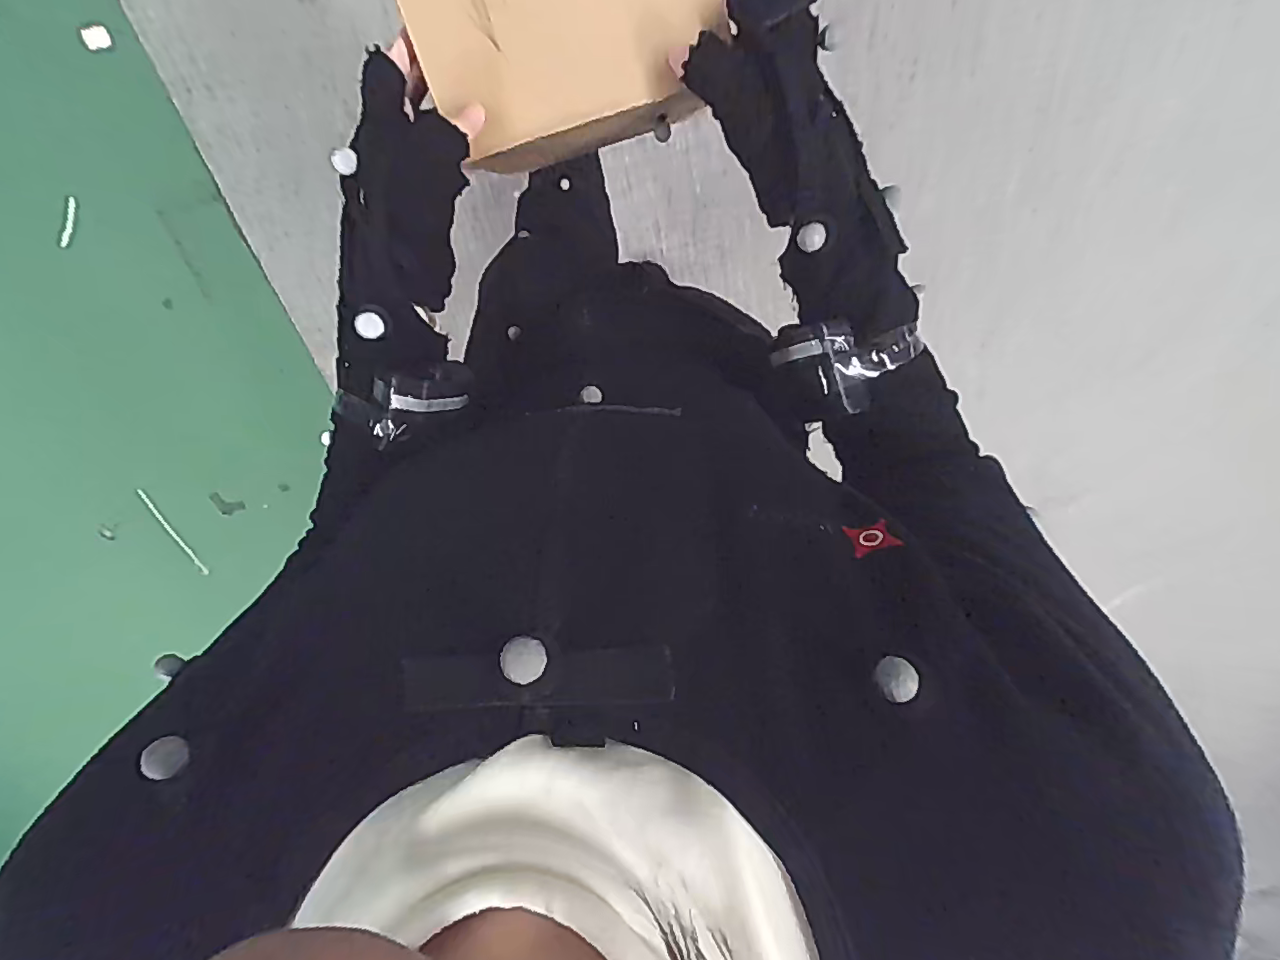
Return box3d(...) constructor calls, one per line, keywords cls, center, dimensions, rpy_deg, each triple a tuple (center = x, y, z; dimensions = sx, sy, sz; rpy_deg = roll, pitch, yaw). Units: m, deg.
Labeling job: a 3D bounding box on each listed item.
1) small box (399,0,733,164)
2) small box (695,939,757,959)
box3d(cls="small box", center=(-0.052, -0.326, 0.354), dimensions=(0.179, 0.176, 0.168), rpy_deg=(-15, 116, 8))
box3d(cls="small box", center=(0.254, 1.432, 1.521), dimensions=(0.179, 0.176, 0.168), rpy_deg=(-12, 123, 4))
